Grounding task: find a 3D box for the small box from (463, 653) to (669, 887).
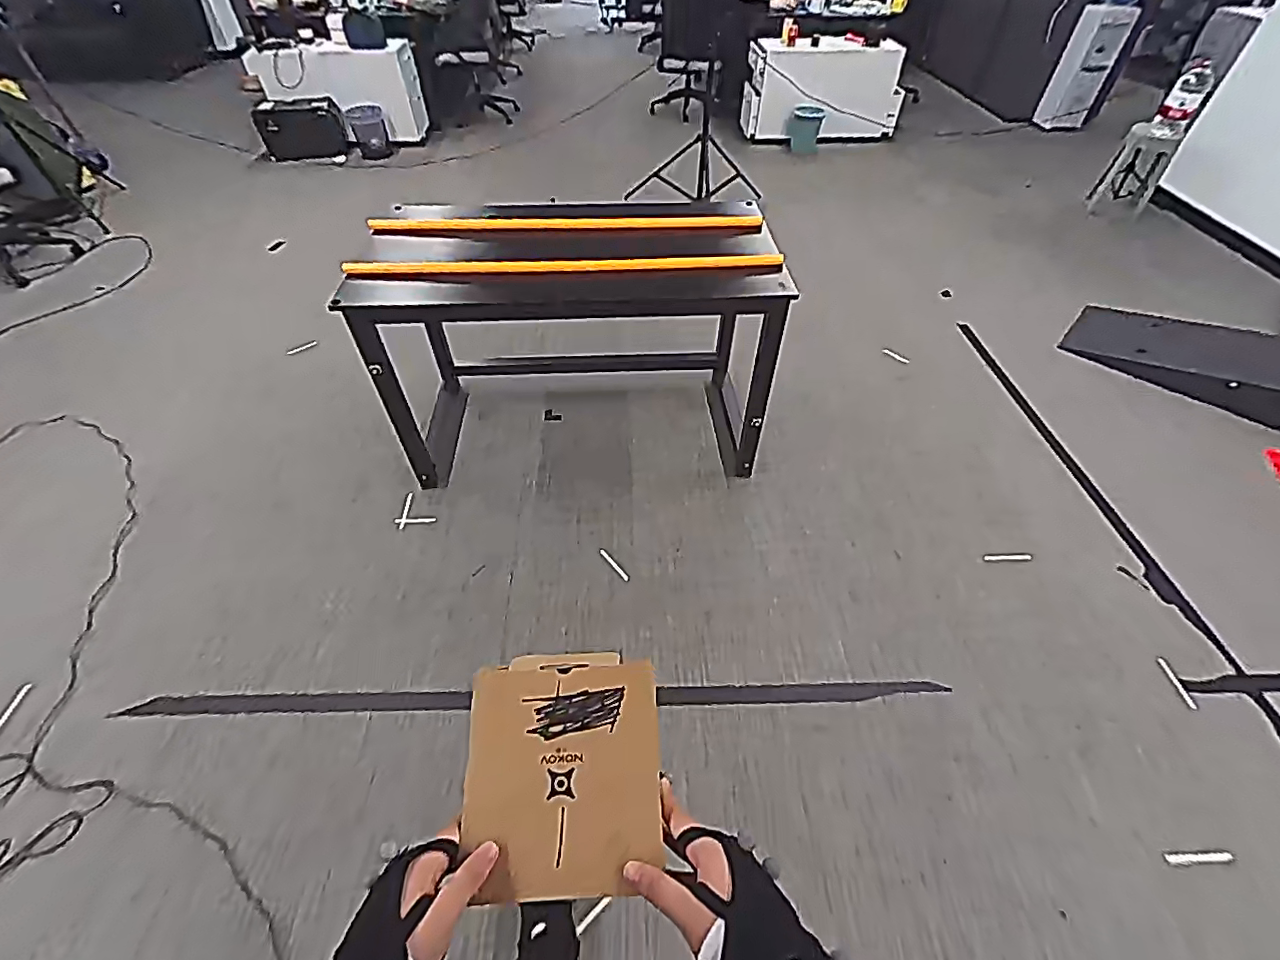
[{"bbox_3d":[-0.060,0.281,0.535,0.168,0.176,0.179,-3,61,0],"label":"small box"}]
